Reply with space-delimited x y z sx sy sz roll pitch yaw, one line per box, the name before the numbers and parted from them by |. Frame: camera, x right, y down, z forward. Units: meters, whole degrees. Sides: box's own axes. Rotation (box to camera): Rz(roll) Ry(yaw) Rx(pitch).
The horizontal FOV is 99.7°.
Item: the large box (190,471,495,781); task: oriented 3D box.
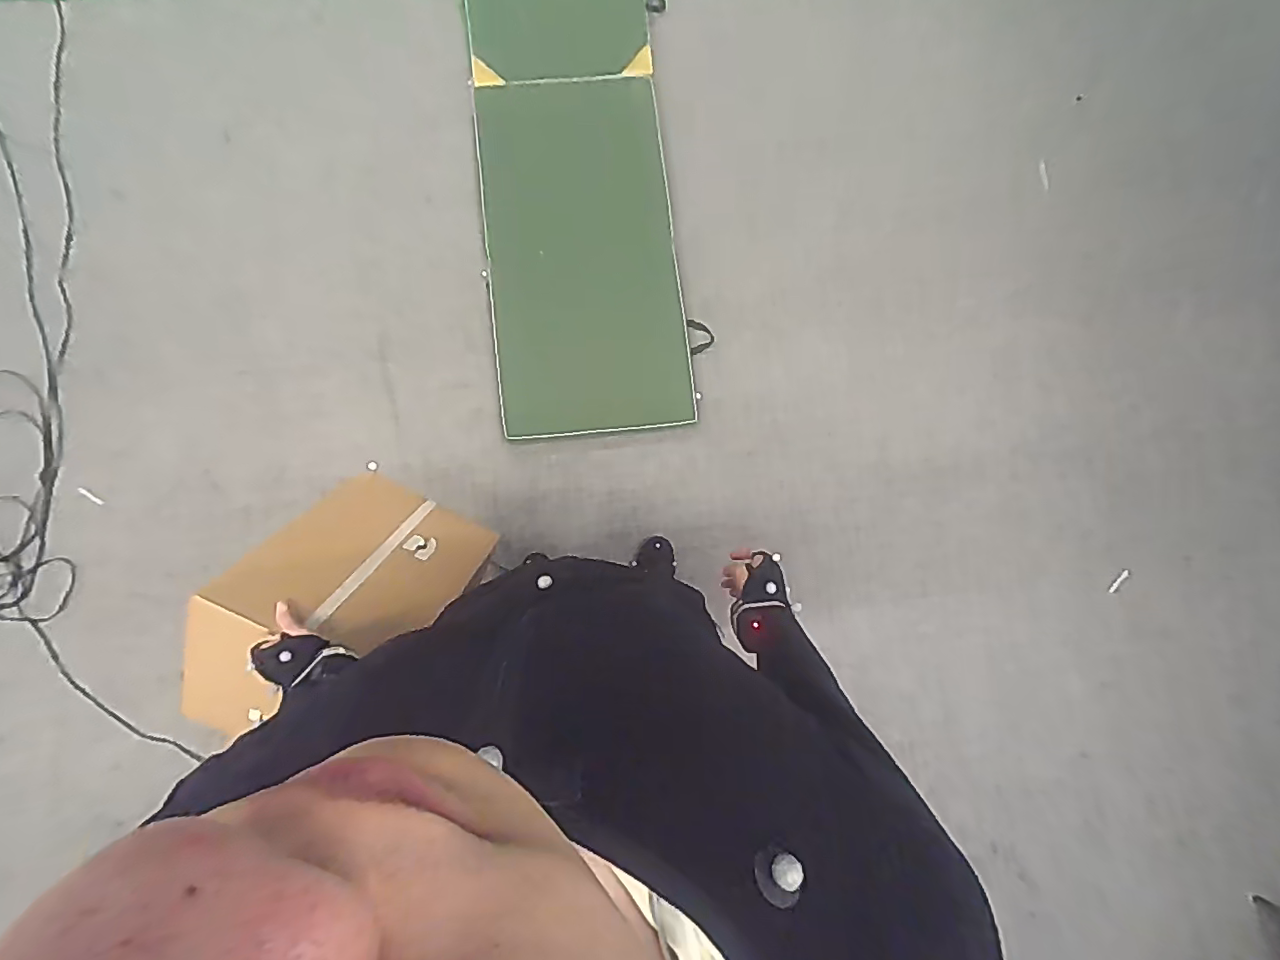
large box | -0.529 0.253 1.015 0.320 0.408 0.320 28 118 -5
